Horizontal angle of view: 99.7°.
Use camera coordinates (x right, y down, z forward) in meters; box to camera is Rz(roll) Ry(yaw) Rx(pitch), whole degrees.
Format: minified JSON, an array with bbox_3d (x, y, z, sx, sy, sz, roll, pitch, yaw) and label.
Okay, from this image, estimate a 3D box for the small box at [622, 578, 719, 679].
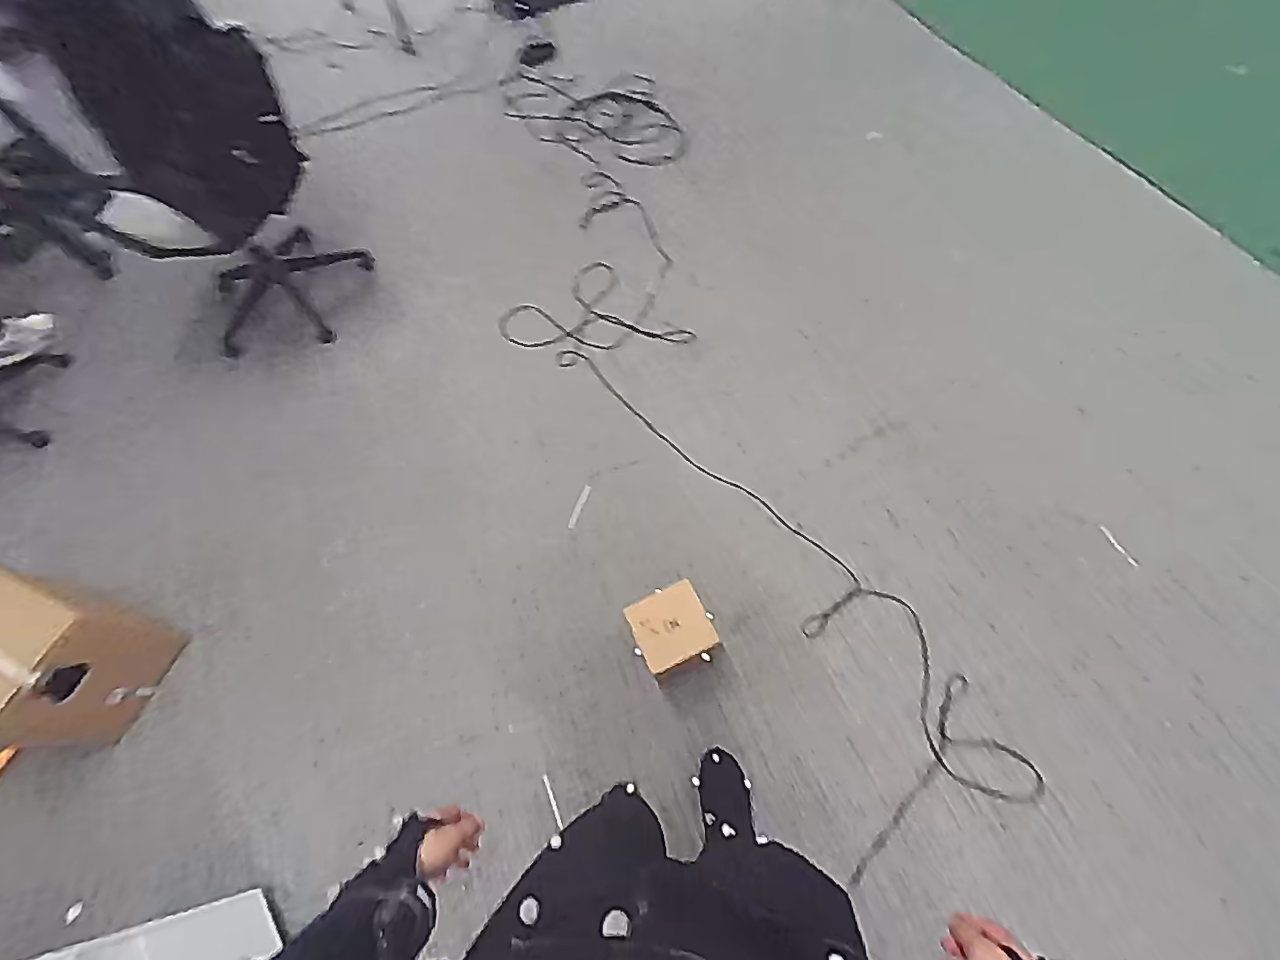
[{"bbox_3d":[0.075,0.366,1.317,0.179,0.176,0.168,-26,64,-5],"label":"small box"}]
